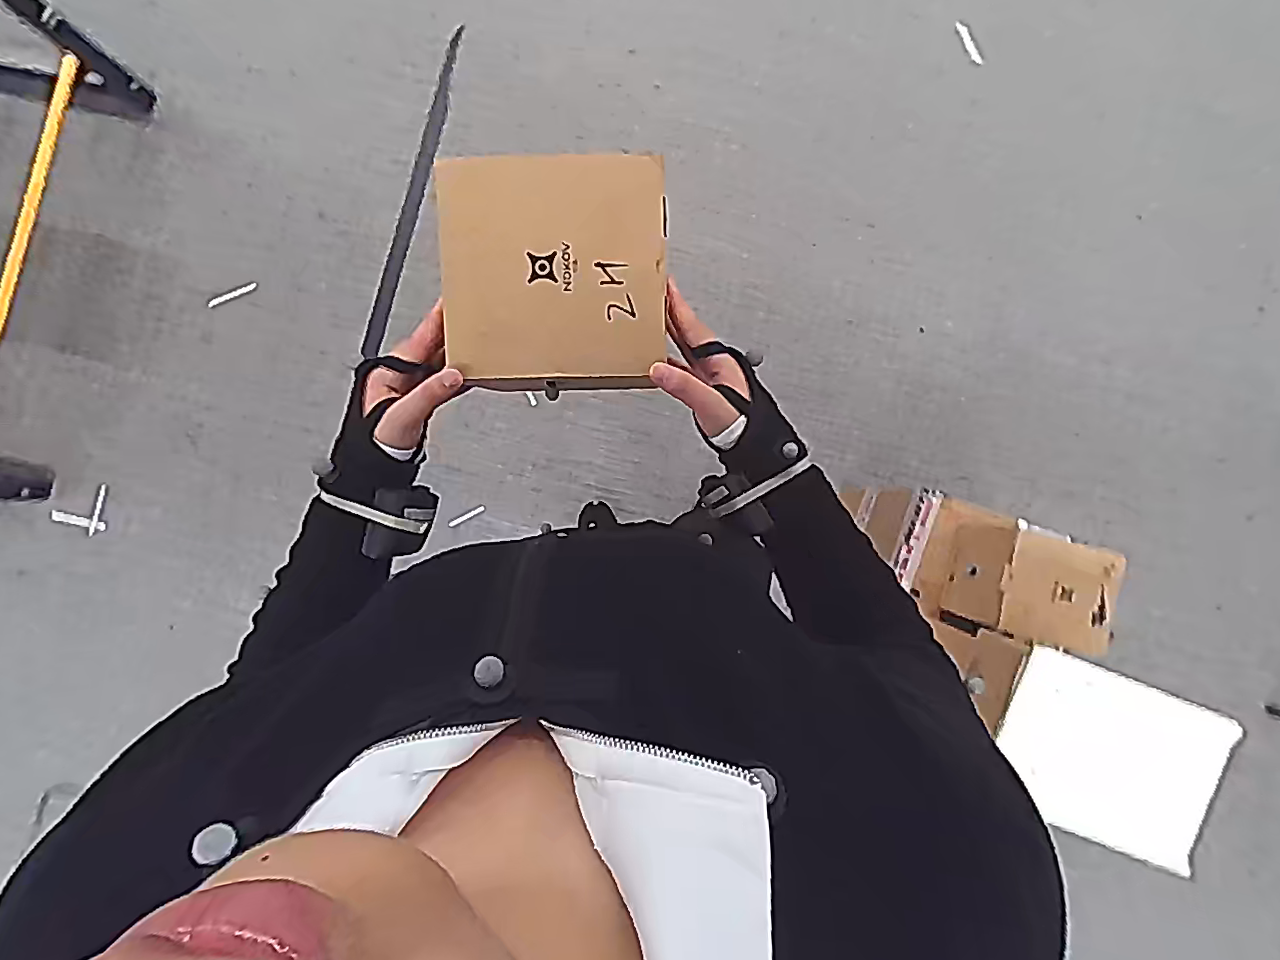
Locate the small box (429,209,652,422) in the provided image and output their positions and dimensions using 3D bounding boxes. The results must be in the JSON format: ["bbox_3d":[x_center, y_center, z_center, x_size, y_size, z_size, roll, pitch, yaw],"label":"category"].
[{"bbox_3d":[-0.078,-0.138,0.510,0.179,0.176,0.168,-1,97,0],"label":"small box"}]
